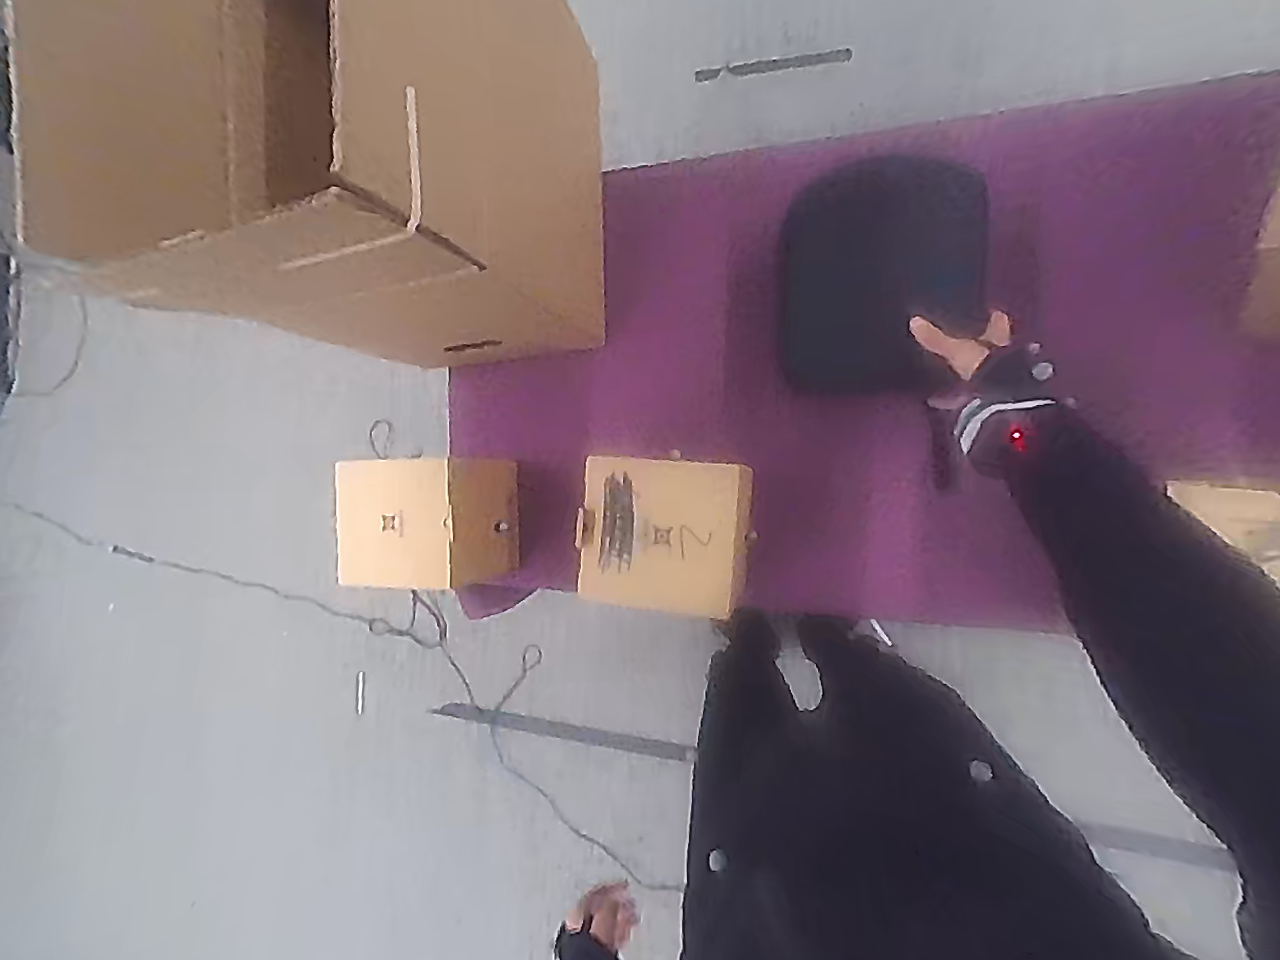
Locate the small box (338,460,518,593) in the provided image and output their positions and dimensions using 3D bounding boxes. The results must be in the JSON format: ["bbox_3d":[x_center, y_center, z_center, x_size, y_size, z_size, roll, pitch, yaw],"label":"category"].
[{"bbox_3d":[-0.291,0.060,0.763,0.179,0.176,0.168,-2,89,16],"label":"small box"}]

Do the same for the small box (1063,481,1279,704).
[{"bbox_3d":[0.536,0.093,0.512,0.168,0.176,0.179,4,92,17],"label":"small box"}]
